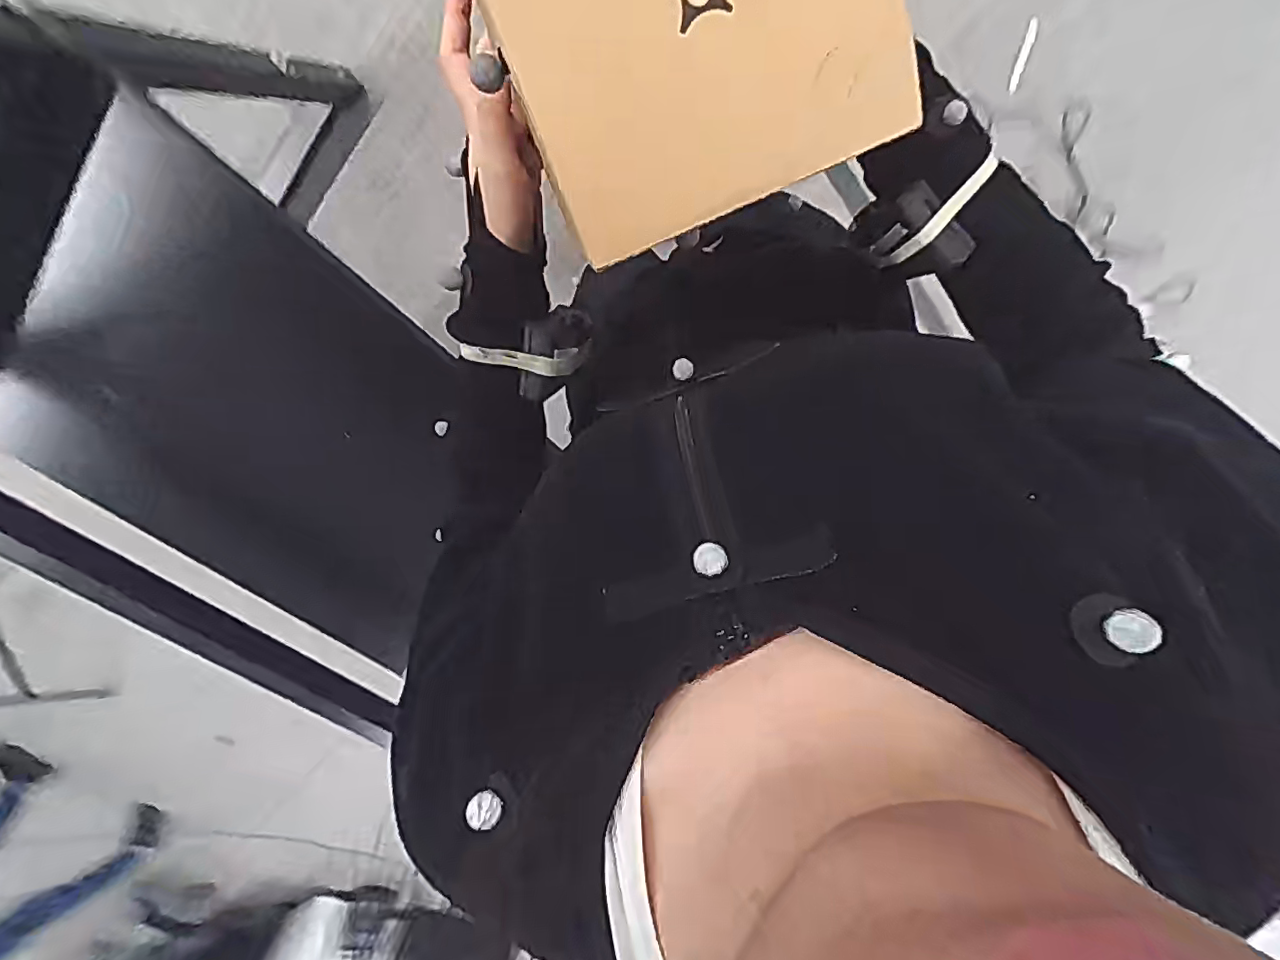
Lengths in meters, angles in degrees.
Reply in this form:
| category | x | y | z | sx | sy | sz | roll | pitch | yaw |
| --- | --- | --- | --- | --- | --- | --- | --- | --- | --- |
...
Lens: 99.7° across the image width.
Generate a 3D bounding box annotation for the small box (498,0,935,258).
| category | x | y | z | sx | sy | sz | roll | pitch | yaw |
| --- | --- | --- | --- | --- | --- | --- | --- | --- | --- |
| small box | 0.019 | -0.238 | 0.281 | 0.168 | 0.176 | 0.179 | -22 | 116 | 3 |
